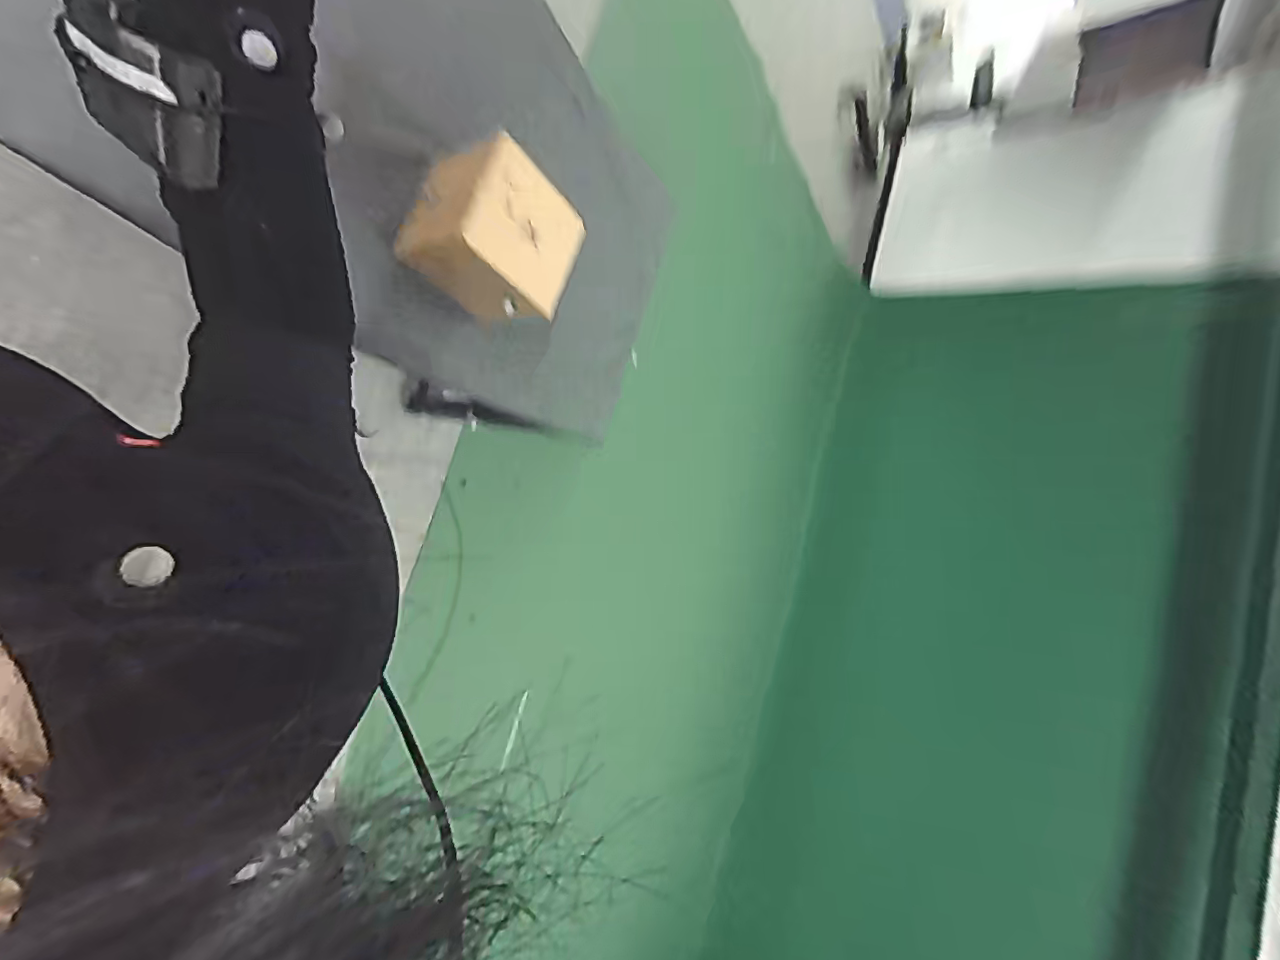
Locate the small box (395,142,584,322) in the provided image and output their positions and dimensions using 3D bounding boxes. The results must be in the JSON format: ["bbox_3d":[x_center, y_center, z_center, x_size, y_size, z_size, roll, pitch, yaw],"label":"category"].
[{"bbox_3d":[-0.220,-0.353,0.804,0.179,0.176,0.168,34,70,-50],"label":"small box"}]
